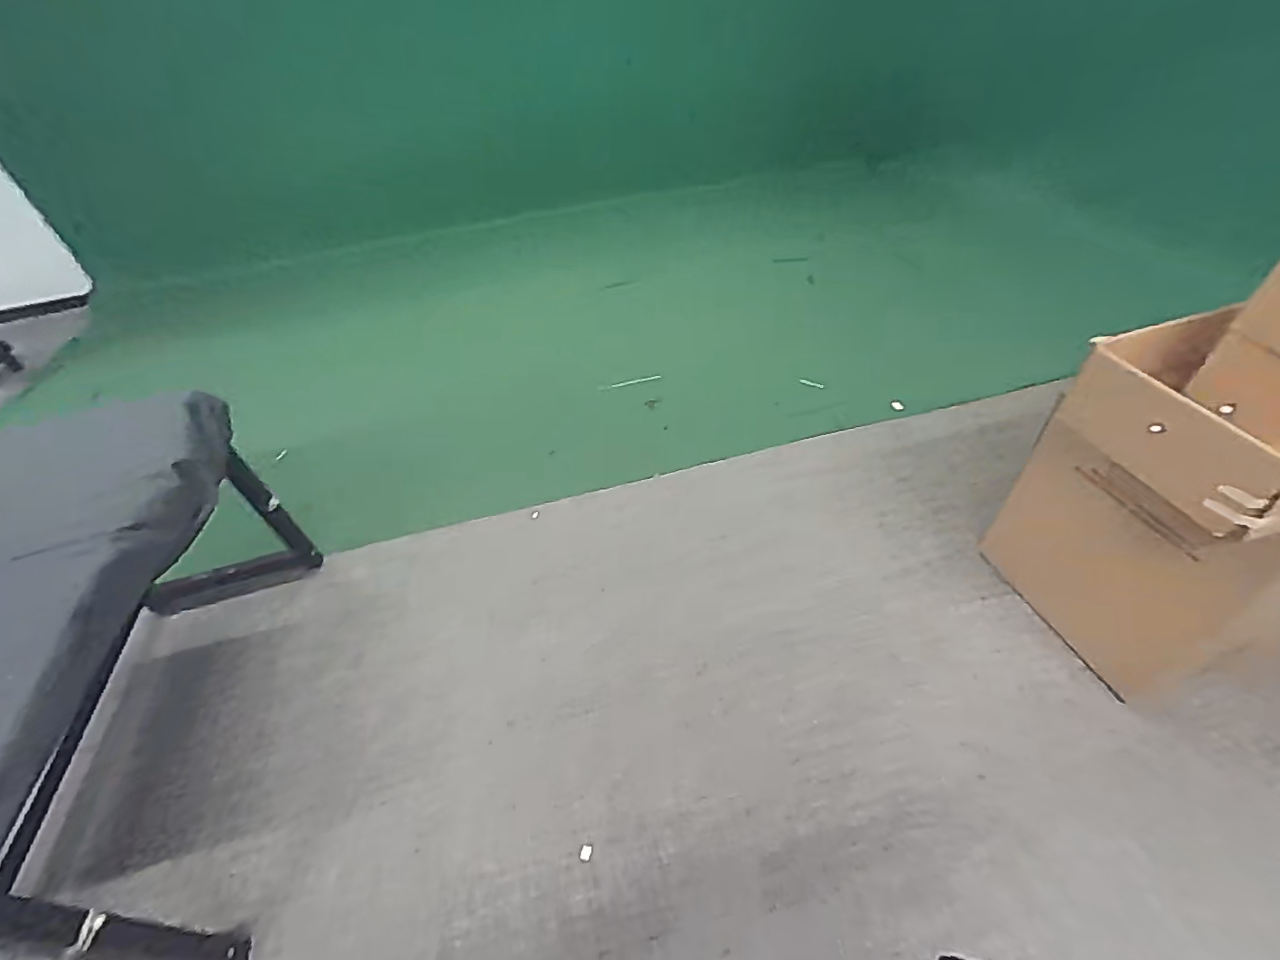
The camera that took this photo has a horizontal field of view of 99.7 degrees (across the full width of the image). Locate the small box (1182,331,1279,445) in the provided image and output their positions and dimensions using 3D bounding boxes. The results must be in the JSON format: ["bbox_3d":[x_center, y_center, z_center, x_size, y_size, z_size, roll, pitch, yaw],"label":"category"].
[{"bbox_3d":[1.232,-0.184,1.037,0.168,0.176,0.179,-13,46,-8],"label":"small box"}]

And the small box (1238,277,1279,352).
[{"bbox_3d":[1.215,-0.299,0.921,0.168,0.176,0.179,-12,46,-6],"label":"small box"}]
